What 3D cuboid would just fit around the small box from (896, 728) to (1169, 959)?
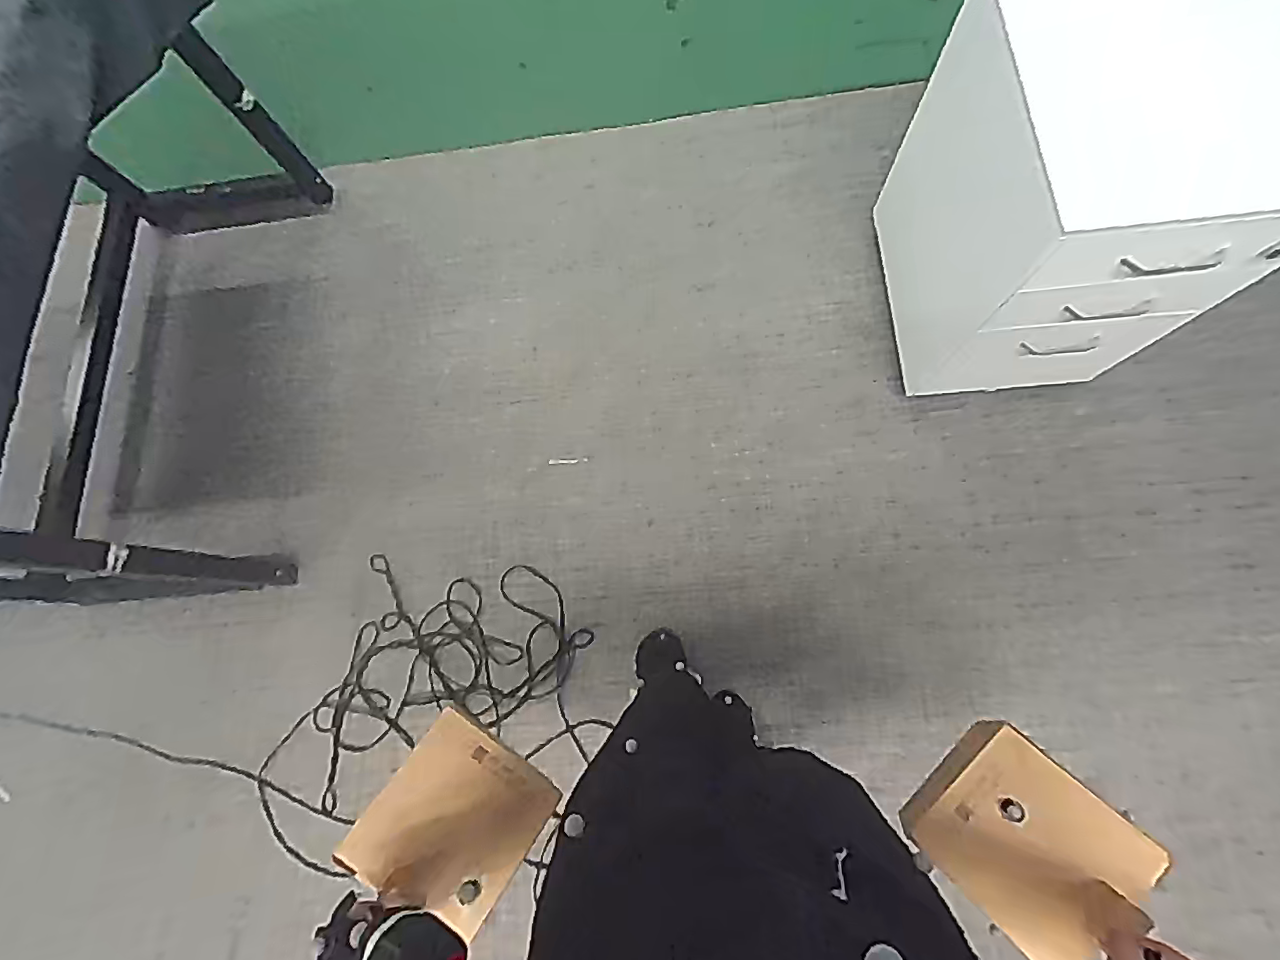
[{"bbox_3d":[0.418,0.407,0.616,0.168,0.179,0.176,-47,59,-3],"label":"small box"}]
